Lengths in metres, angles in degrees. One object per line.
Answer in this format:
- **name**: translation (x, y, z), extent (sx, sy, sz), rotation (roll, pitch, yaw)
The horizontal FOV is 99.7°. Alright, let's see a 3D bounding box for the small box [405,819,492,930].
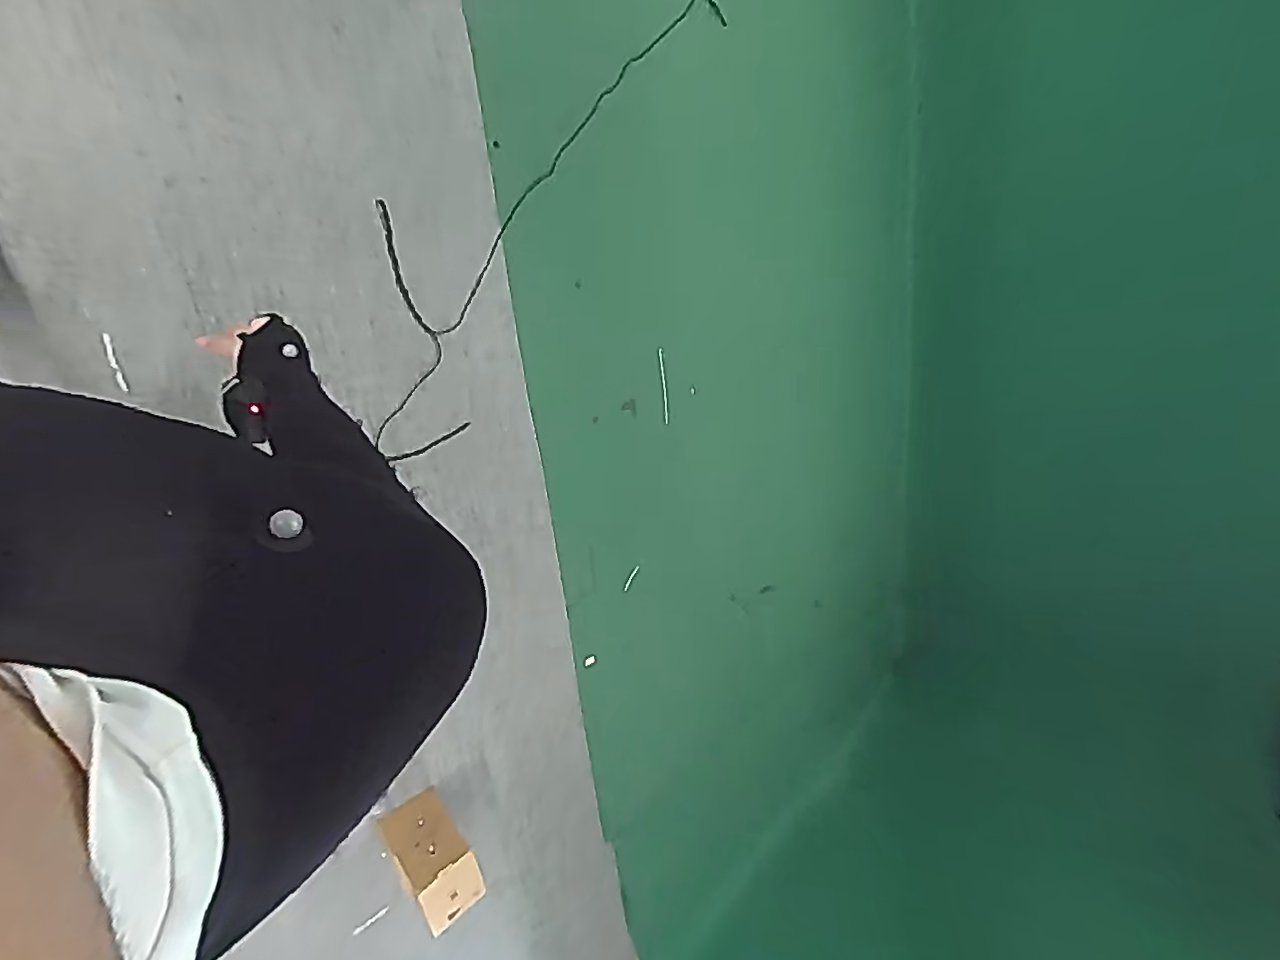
- **small box**: translation (-0.565, 1.141, 1.586), extent (0.168, 0.176, 0.179), rotation (-24, 112, -37)

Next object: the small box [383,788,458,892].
- **small box**: translation (-0.678, 1.121, 1.703), extent (0.179, 0.176, 0.168), rotation (-21, 111, -38)
